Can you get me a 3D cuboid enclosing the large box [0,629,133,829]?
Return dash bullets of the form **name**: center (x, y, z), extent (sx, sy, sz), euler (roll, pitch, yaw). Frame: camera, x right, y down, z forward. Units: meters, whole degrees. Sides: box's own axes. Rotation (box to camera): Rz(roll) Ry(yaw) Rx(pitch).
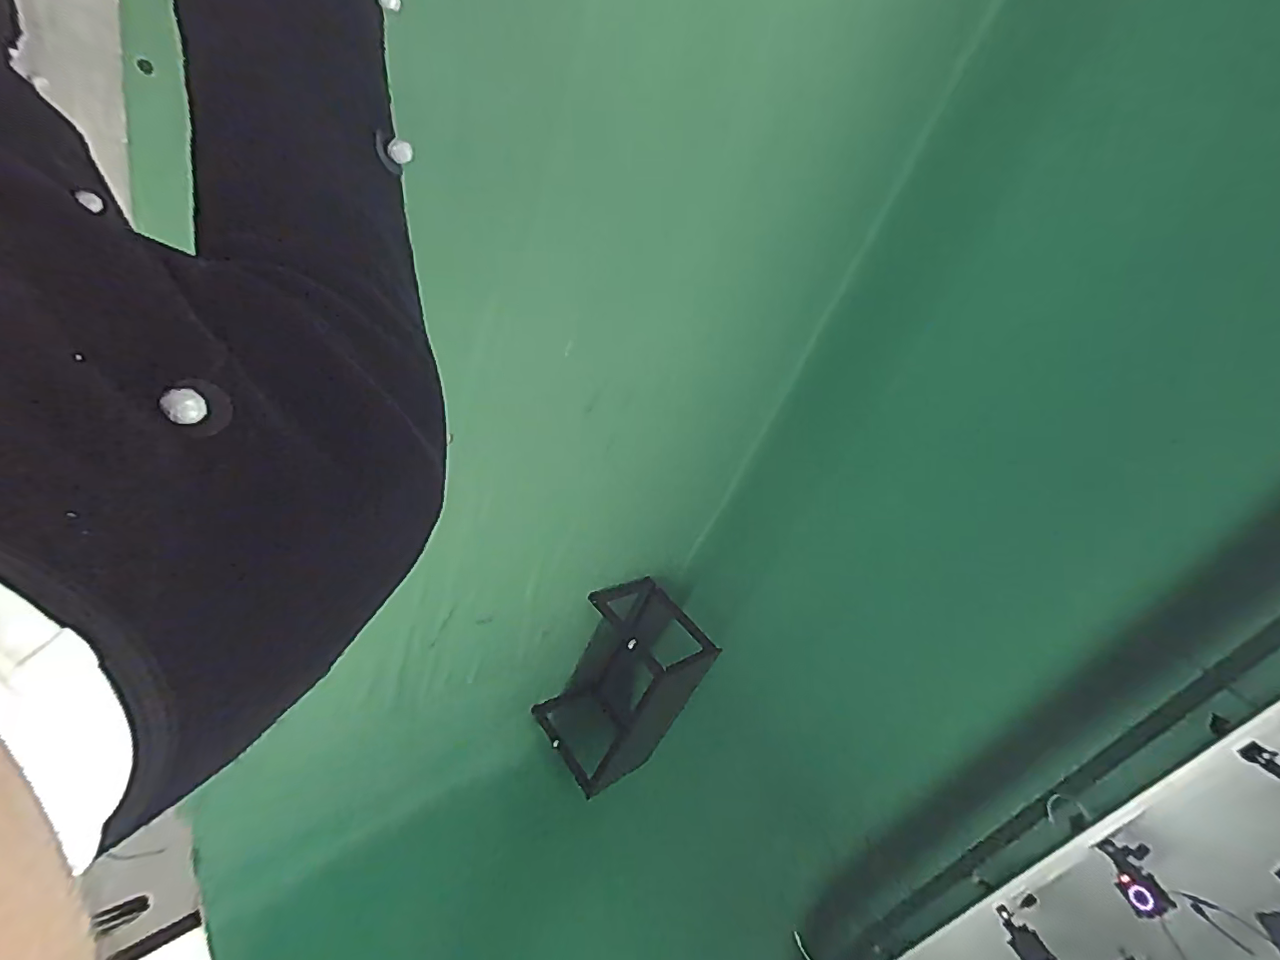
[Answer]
- **large box**: center (-1.740, 0.693, 1.474), extent (0.408, 0.320, 0.320), euler (-35, 148, -20)
